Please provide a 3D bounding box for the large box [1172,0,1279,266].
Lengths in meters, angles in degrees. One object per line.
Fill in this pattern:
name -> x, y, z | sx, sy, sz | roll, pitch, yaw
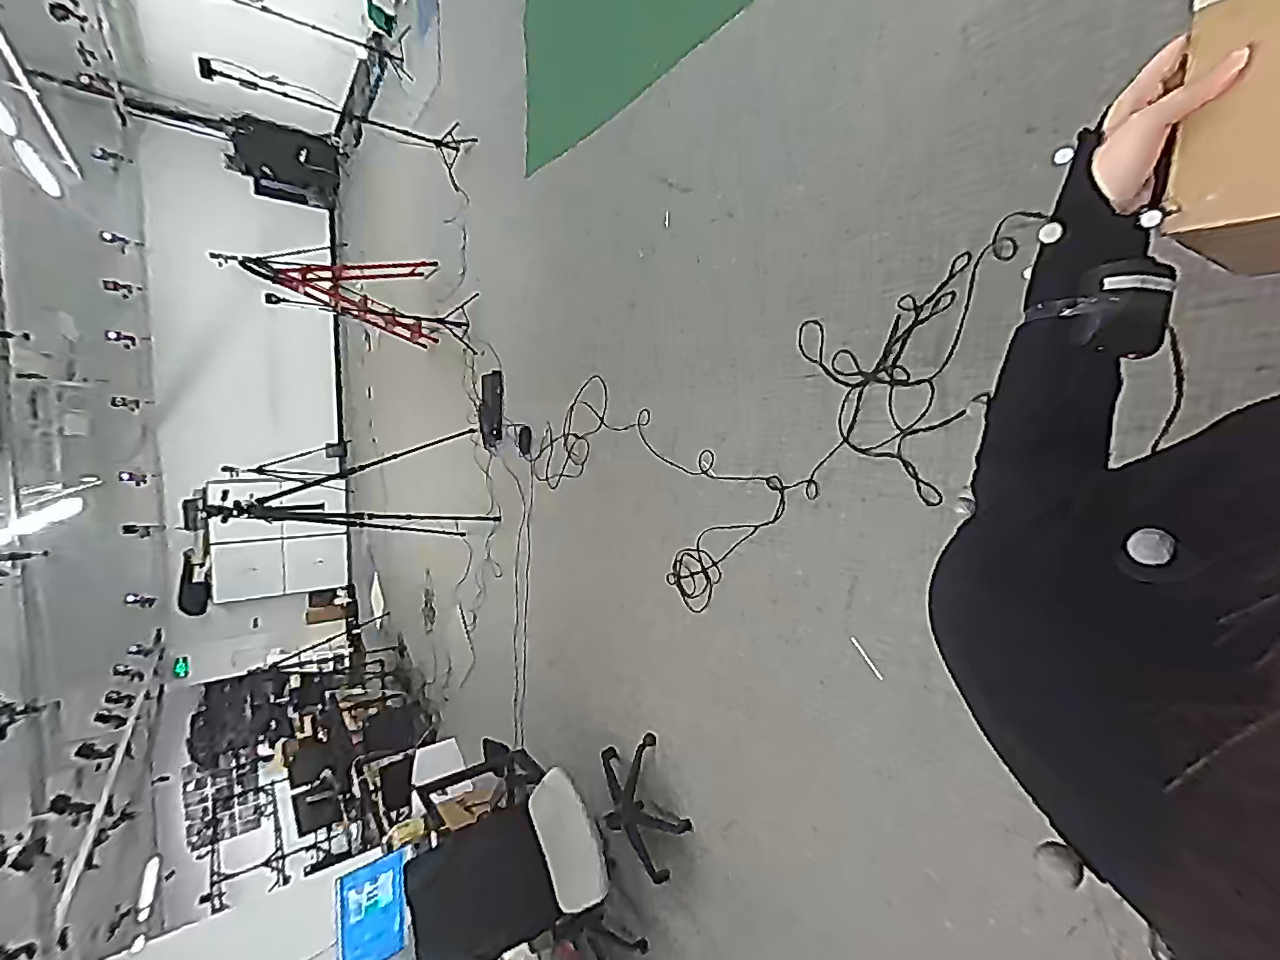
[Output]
large box -> 0.640, -0.331, 0.307 | 0.408, 0.320, 0.320 | 15, 107, 55
